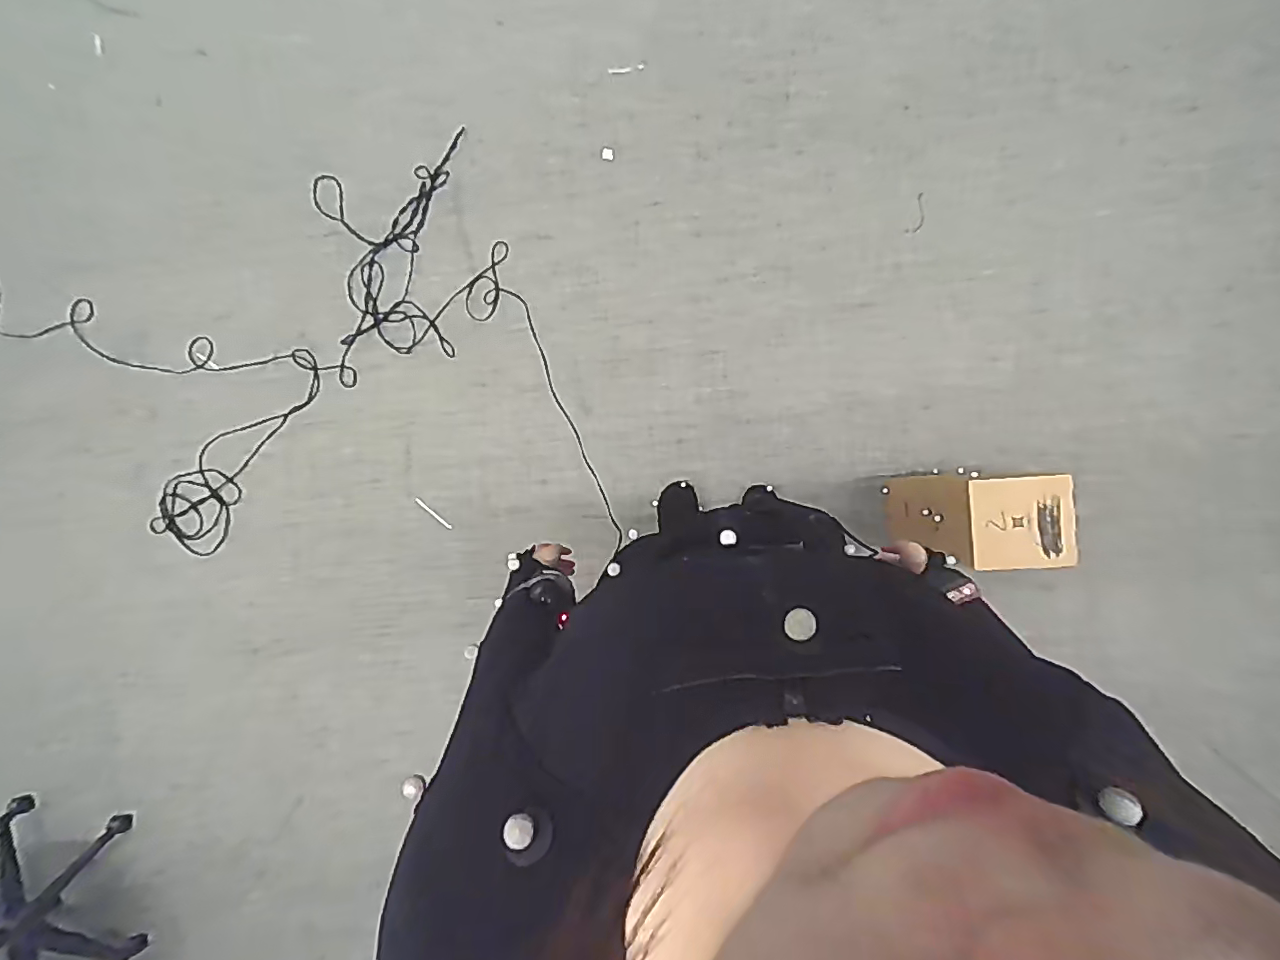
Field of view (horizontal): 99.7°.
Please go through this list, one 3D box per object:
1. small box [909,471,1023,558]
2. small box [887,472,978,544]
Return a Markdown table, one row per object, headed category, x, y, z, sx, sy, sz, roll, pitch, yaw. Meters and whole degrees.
| category | x | y | z | sx | sy | sz | roll | pitch | yaw |
| --- | --- | --- | --- | --- | --- | --- | --- | --- | --- |
| small box | 0.714 | 0.073 | 1.202 | 0.168 | 0.176 | 0.179 | -4 | 91 | 7 |
| small box | 0.738 | 0.069 | 1.365 | 0.179 | 0.176 | 0.168 | -4 | 90 | 6 |
